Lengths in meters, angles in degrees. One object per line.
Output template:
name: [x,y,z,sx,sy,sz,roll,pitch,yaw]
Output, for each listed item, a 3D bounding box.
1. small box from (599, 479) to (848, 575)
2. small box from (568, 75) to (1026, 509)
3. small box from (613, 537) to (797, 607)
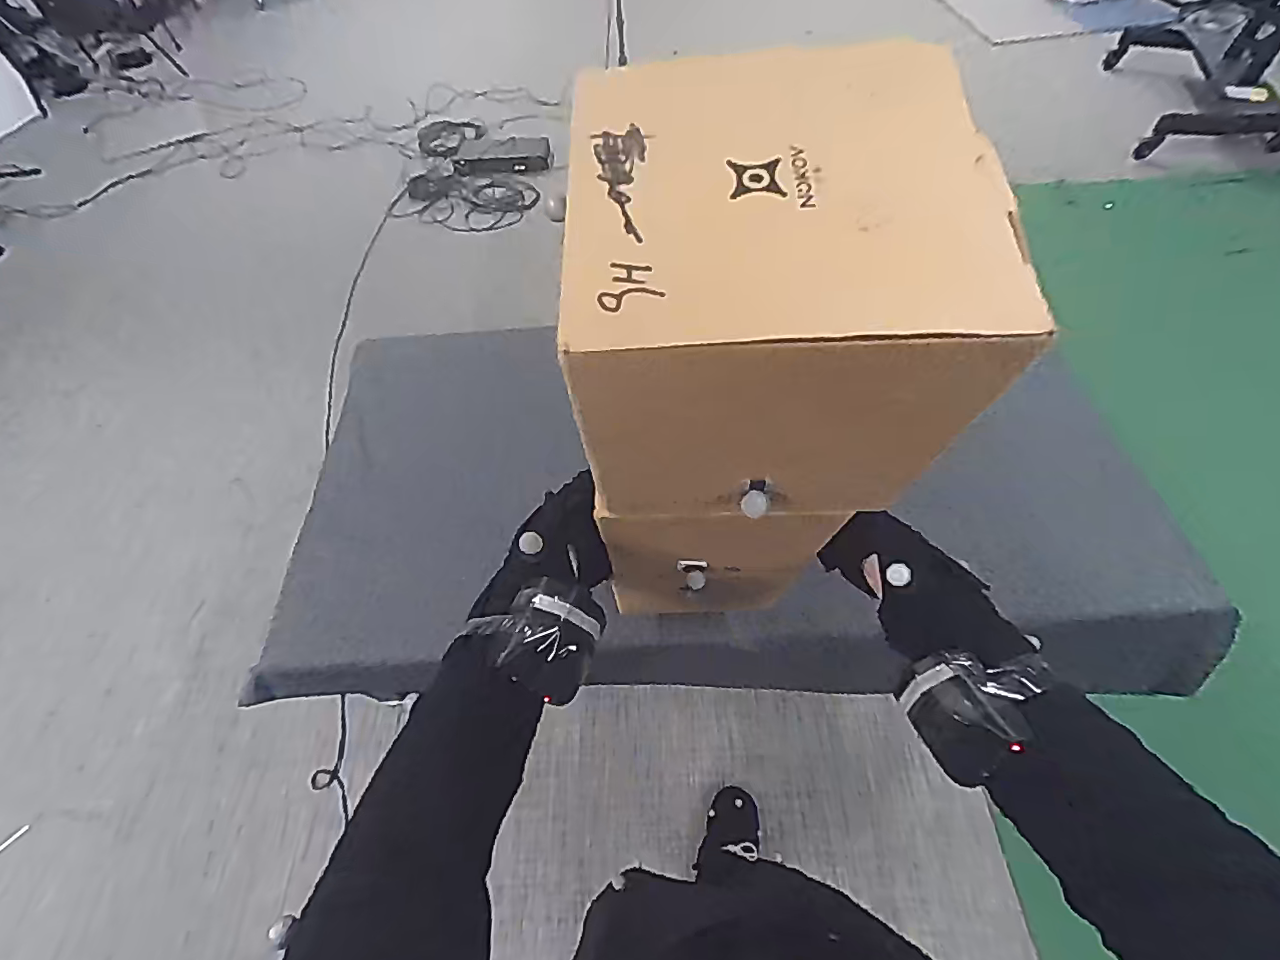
small box: [0.058,-0.026,0.459,0.168,0.176,0.179,-1,66,3]
small box: [0.061,-0.089,0.308,0.179,0.176,0.168,-2,65,2]
small box: [0.063,0.043,0.605,0.179,0.176,0.168,-3,66,1]
